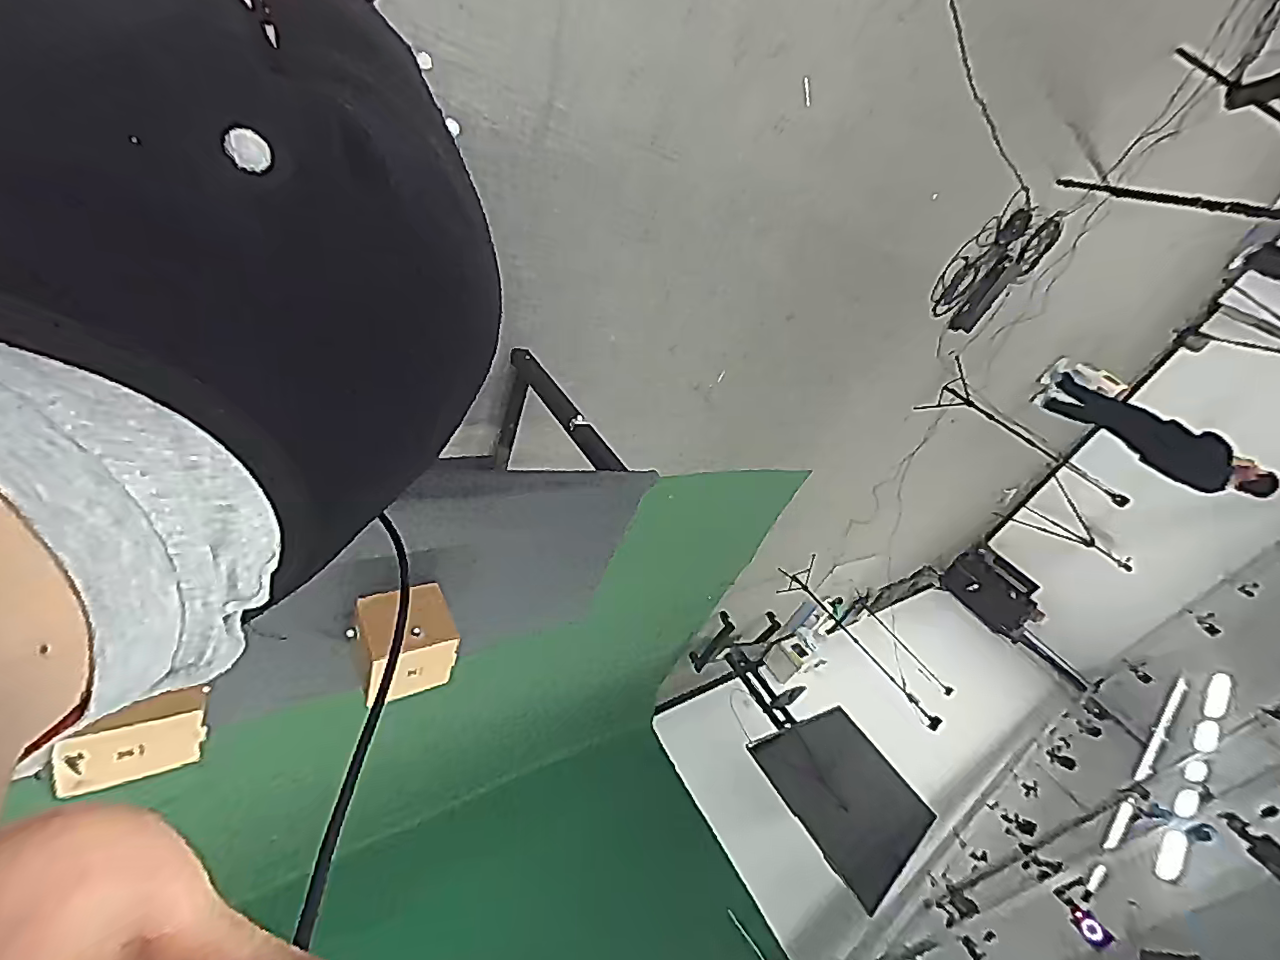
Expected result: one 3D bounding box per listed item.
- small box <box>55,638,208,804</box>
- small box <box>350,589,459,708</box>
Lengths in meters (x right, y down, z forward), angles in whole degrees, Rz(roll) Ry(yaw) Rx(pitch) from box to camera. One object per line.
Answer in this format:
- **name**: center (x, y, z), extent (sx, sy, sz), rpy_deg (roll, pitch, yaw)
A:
- **small box**: center (-0.853, 0.391, 0.910), extent (0.179, 0.176, 0.168), rpy_deg (-1, 129, -44)
- **small box**: center (-0.524, 0.362, 1.196), extent (0.179, 0.176, 0.168), rpy_deg (-6, 132, -38)
